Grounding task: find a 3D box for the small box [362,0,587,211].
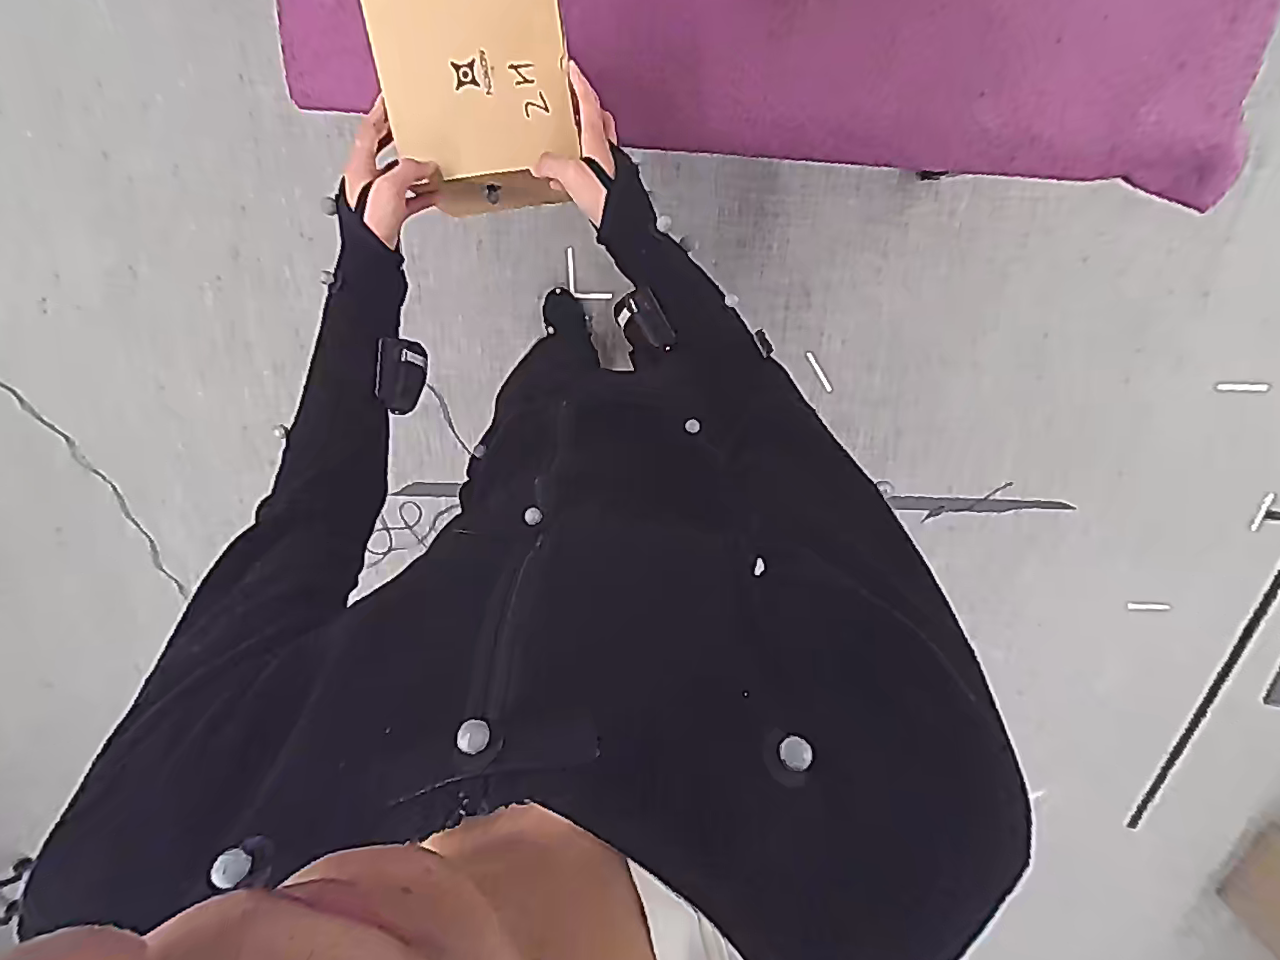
[{"bbox_3d":[-0.156,-0.396,0.572,0.179,0.176,0.168,-8,108,-2],"label":"small box"}]
